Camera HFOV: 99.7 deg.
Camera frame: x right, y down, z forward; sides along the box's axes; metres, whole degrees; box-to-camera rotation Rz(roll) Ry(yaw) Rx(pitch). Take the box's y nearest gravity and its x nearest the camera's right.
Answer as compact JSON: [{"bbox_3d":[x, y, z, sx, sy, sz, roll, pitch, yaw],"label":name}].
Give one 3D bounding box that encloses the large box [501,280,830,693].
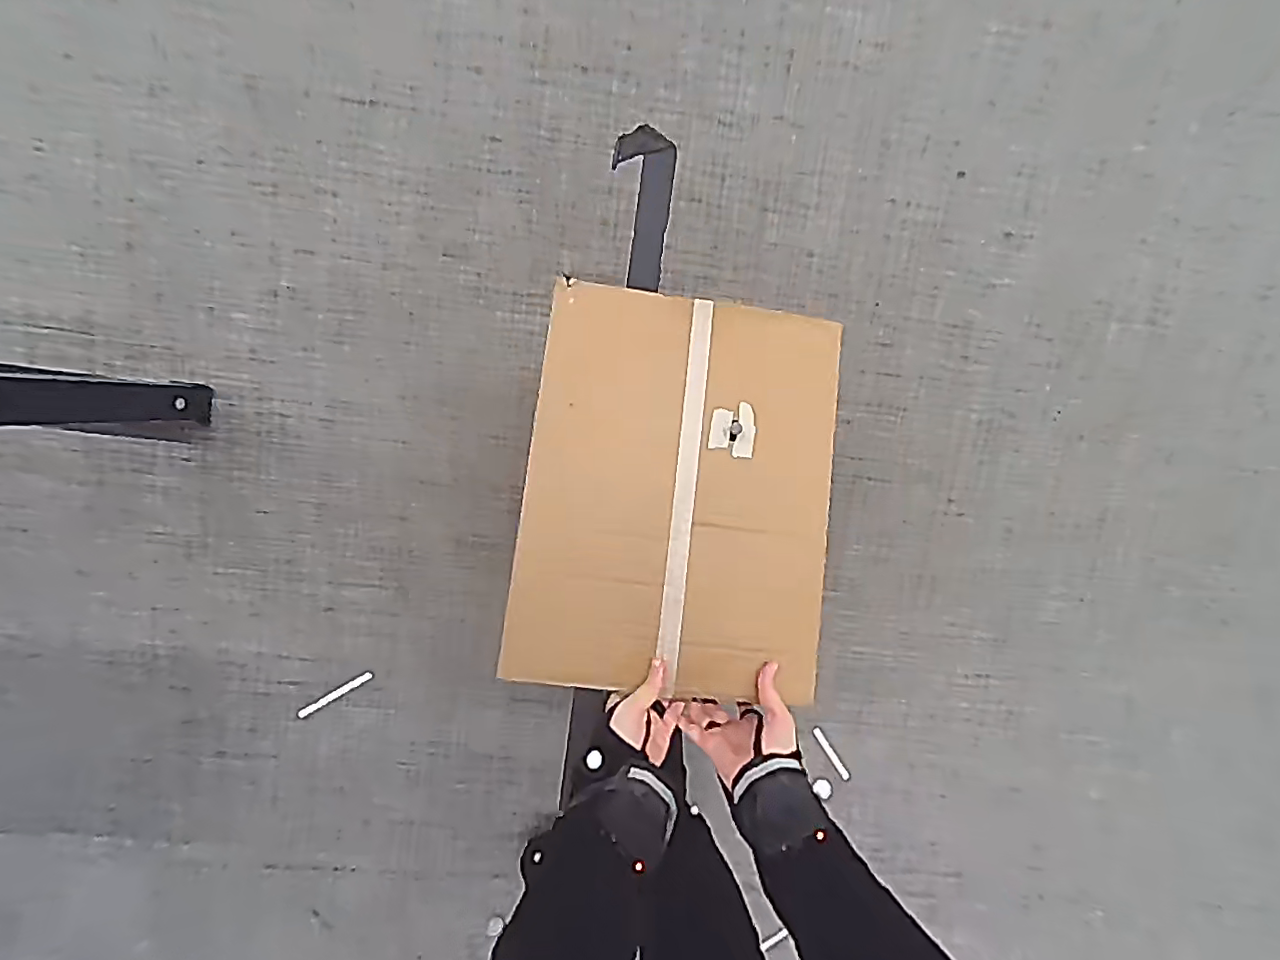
[{"bbox_3d":[0.023,0.023,0.694,0.320,0.320,0.408,7,82,-6],"label":"large box"}]
